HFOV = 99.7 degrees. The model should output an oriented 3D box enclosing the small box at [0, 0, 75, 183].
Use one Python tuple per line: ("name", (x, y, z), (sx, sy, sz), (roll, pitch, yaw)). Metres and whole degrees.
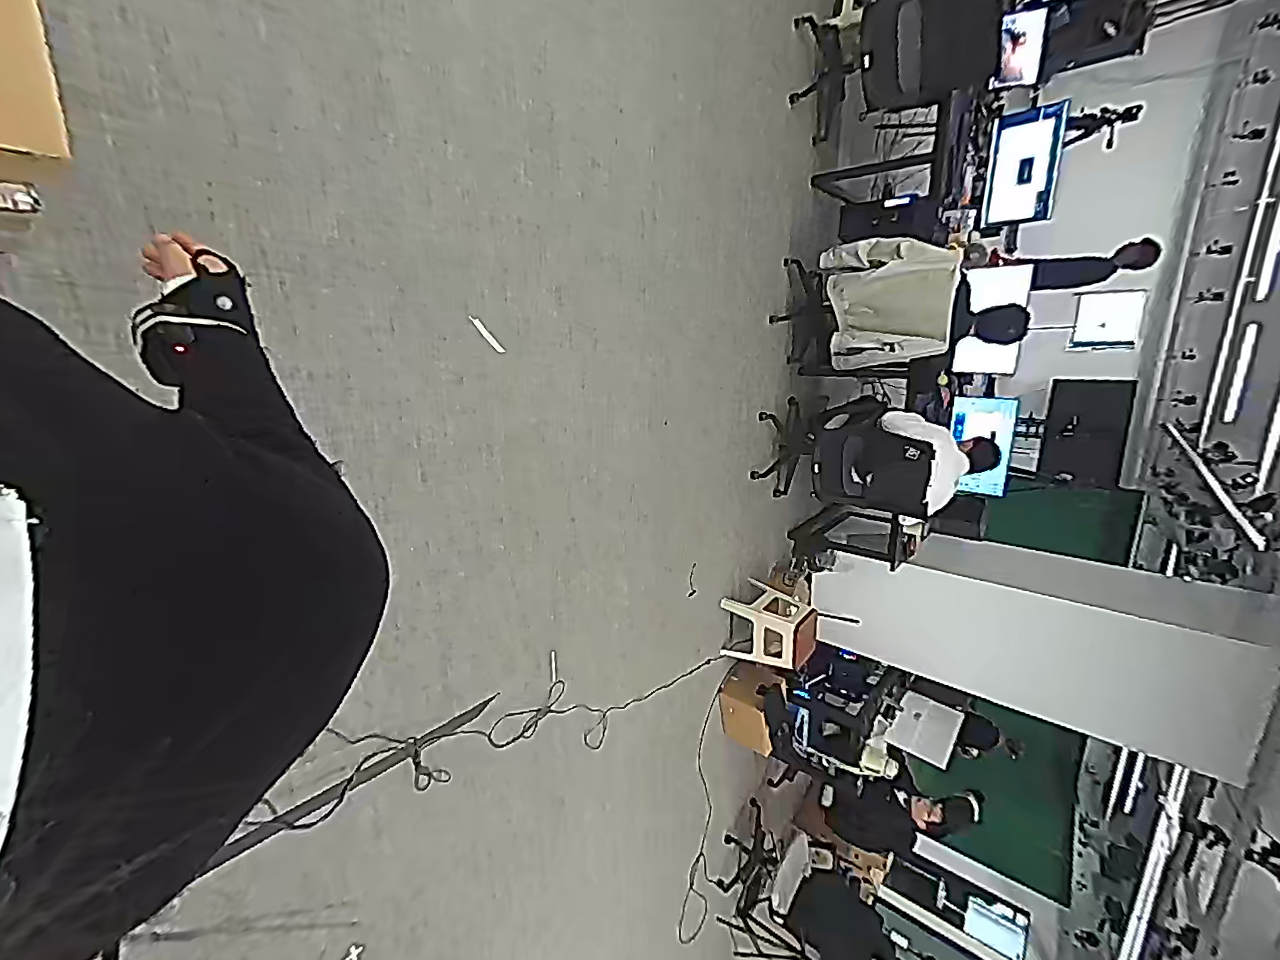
("small box", (-0.729, -0.428, 0.554), (0.168, 0.176, 0.179), (-17, 114, -50))
